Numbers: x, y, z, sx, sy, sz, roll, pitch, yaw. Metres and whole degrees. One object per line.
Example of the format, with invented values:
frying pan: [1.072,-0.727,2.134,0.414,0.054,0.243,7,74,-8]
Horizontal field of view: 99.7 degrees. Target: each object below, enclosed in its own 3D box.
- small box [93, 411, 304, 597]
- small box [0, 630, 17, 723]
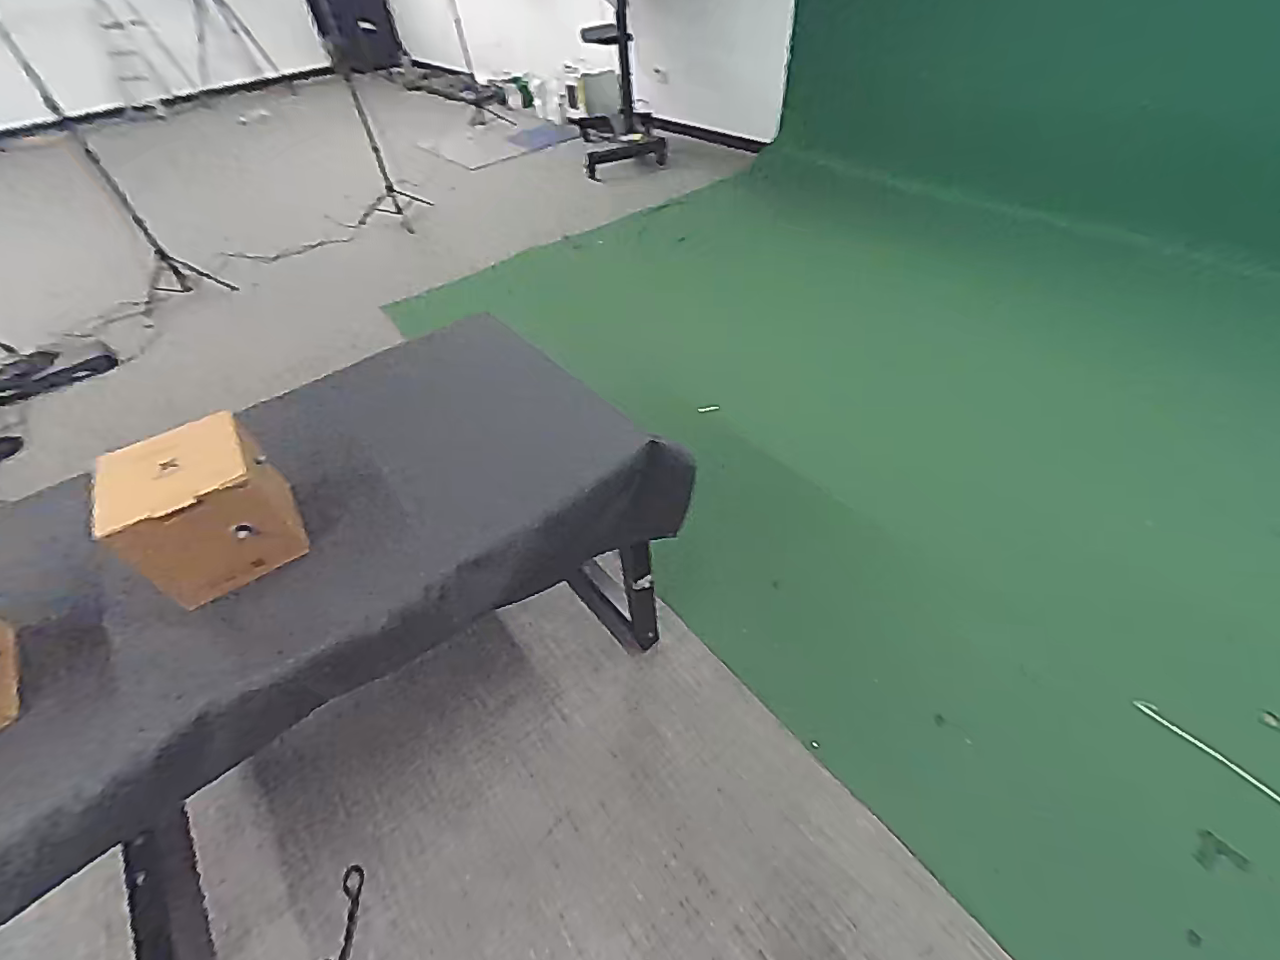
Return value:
small box: [-0.608,0.039,0.760,0.168,0.176,0.179,-29,50,-22]
small box: [-0.873,0.237,0.599,0.179,0.176,0.168,-34,53,-25]
